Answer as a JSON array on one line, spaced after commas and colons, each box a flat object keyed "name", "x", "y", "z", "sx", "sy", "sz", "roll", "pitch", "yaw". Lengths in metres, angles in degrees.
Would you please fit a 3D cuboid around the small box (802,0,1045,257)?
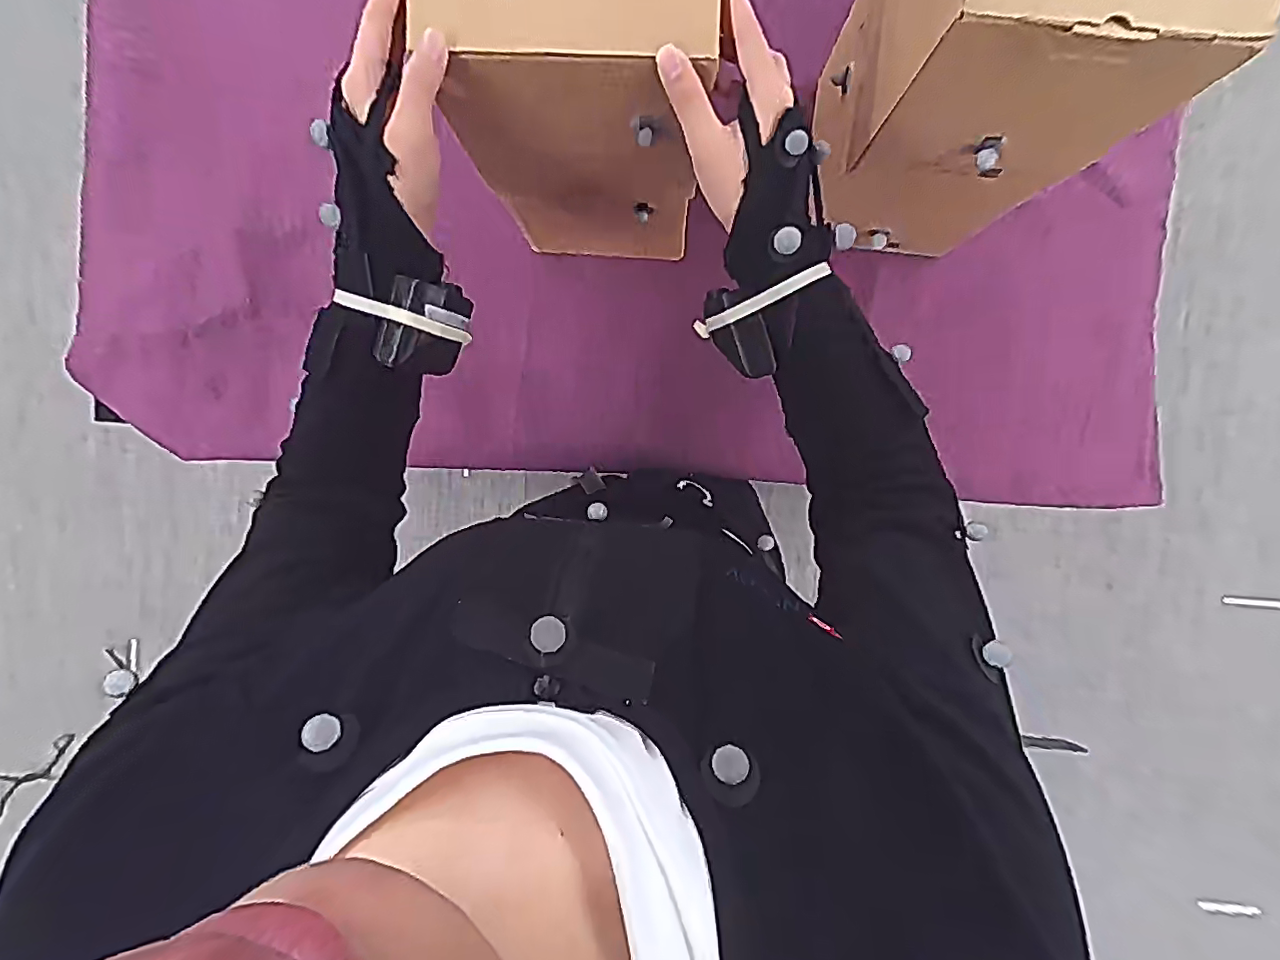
[{"name": "small box", "x": 0.268, "y": -0.341, "z": 0.524, "sx": 0.168, "sy": 0.176, "sz": 0.179, "roll": 7, "pitch": 94, "yaw": 1}]

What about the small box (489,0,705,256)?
[{"name": "small box", "x": -0.035, "y": -0.335, "z": 0.535, "sx": 0.179, "sy": 0.176, "sz": 0.168, "roll": 4, "pitch": 93, "yaw": 1}]

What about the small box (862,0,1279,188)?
[{"name": "small box", "x": 0.266, "y": -0.330, "z": 0.359, "sx": 0.168, "sy": 0.176, "sz": 0.179, "roll": 7, "pitch": 94, "yaw": 2}]
